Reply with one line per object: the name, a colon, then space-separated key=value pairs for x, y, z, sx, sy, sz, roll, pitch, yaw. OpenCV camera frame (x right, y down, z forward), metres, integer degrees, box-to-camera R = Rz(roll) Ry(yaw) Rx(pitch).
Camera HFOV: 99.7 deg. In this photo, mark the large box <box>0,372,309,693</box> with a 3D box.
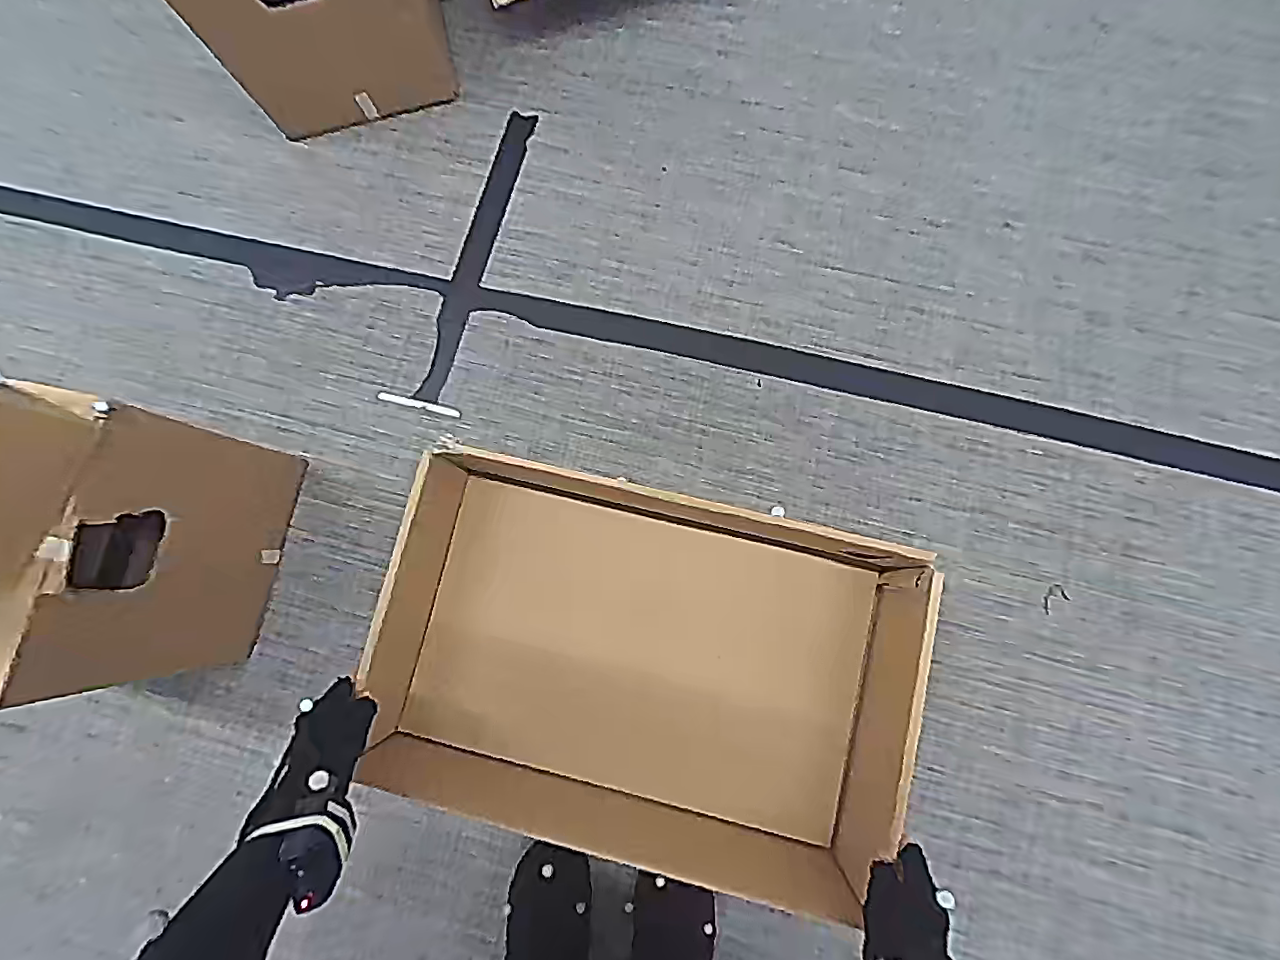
large box: x=-0.746 y=0.052 z=0.698 sx=0.408 sy=0.320 sz=0.320 roll=10 pitch=82 yaw=4
